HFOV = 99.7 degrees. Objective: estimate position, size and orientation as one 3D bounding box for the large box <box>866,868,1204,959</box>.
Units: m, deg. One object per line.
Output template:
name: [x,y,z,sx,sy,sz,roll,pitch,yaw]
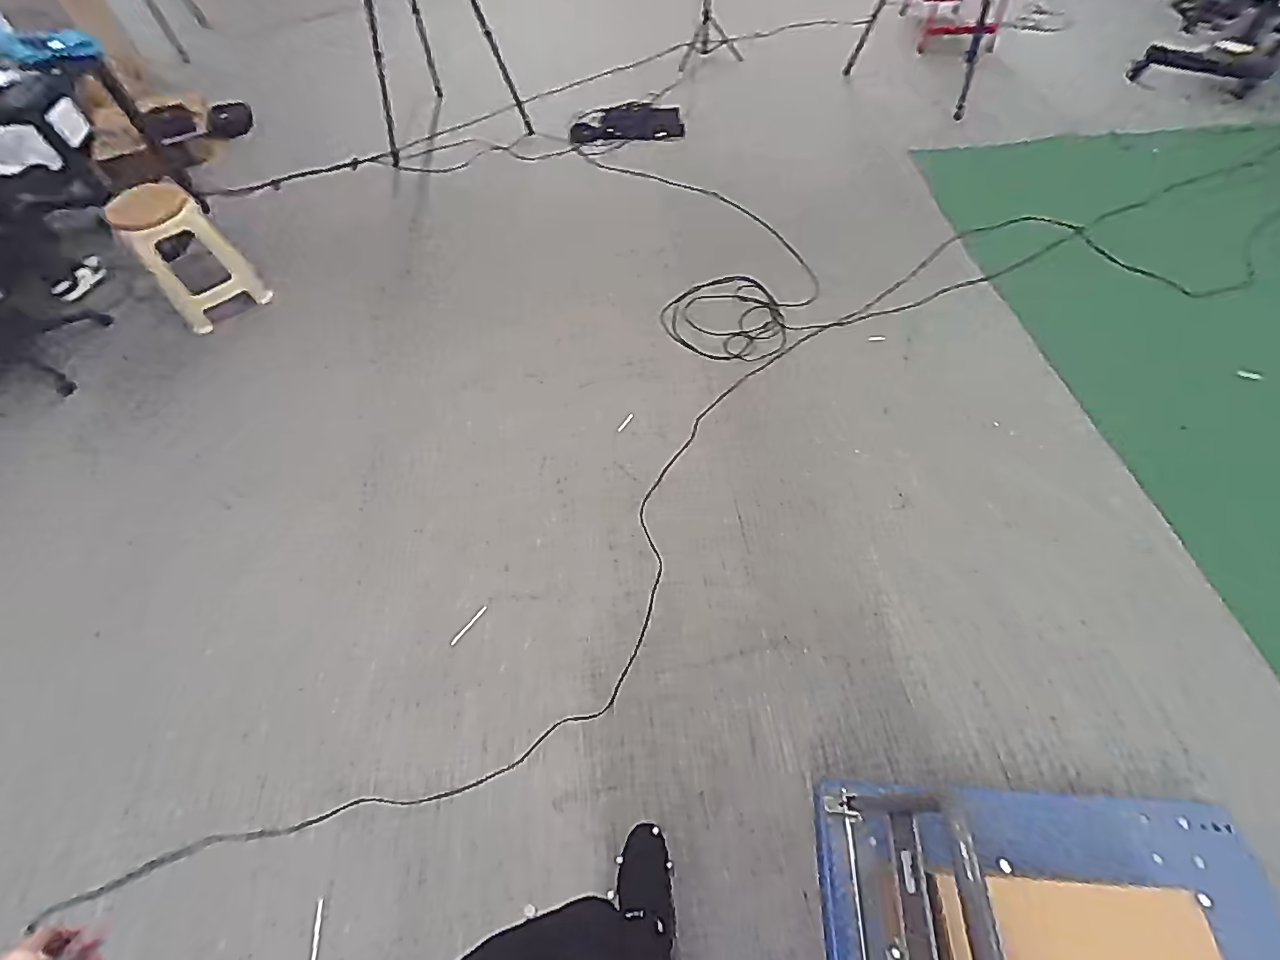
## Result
large box: [0.662,0.863,0.925,0.408,0.320,0.320,1,58,3]
